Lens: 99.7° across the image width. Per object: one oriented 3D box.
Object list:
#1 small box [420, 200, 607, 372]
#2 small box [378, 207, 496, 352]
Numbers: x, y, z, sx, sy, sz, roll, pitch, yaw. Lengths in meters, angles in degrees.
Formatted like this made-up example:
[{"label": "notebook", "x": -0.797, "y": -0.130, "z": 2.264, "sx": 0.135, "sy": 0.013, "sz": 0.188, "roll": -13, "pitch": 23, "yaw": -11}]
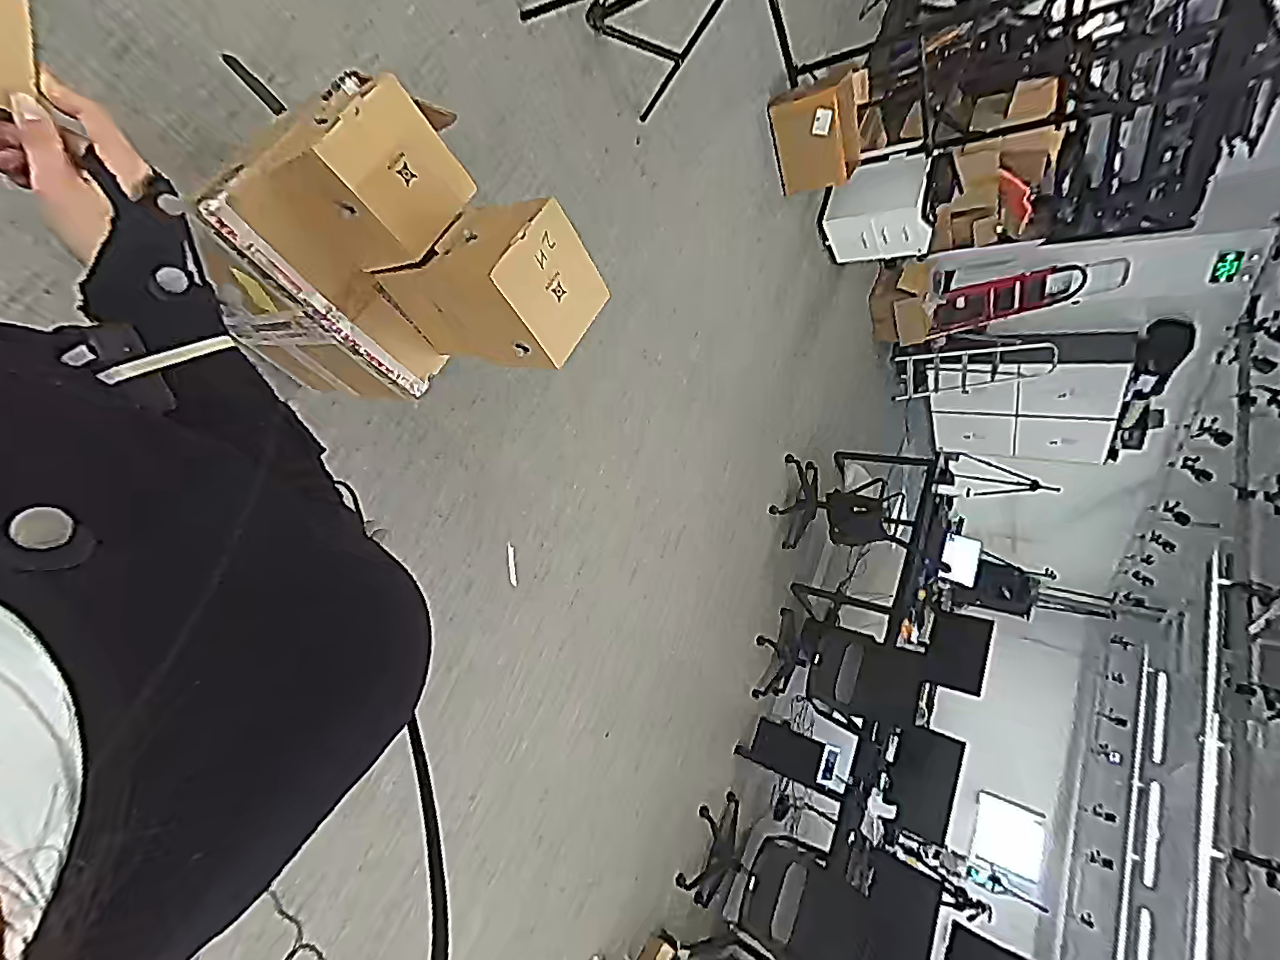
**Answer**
[{"label": "small box", "x": -0.186, "y": -0.286, "z": 0.814, "sx": 0.168, "sy": 0.176, "sz": 0.179, "roll": -61, "pitch": 141, "yaw": -22}, {"label": "small box", "x": -0.303, "y": -0.331, "z": 0.924, "sx": 0.168, "sy": 0.176, "sz": 0.179, "roll": -58, "pitch": 140, "yaw": -24}]
